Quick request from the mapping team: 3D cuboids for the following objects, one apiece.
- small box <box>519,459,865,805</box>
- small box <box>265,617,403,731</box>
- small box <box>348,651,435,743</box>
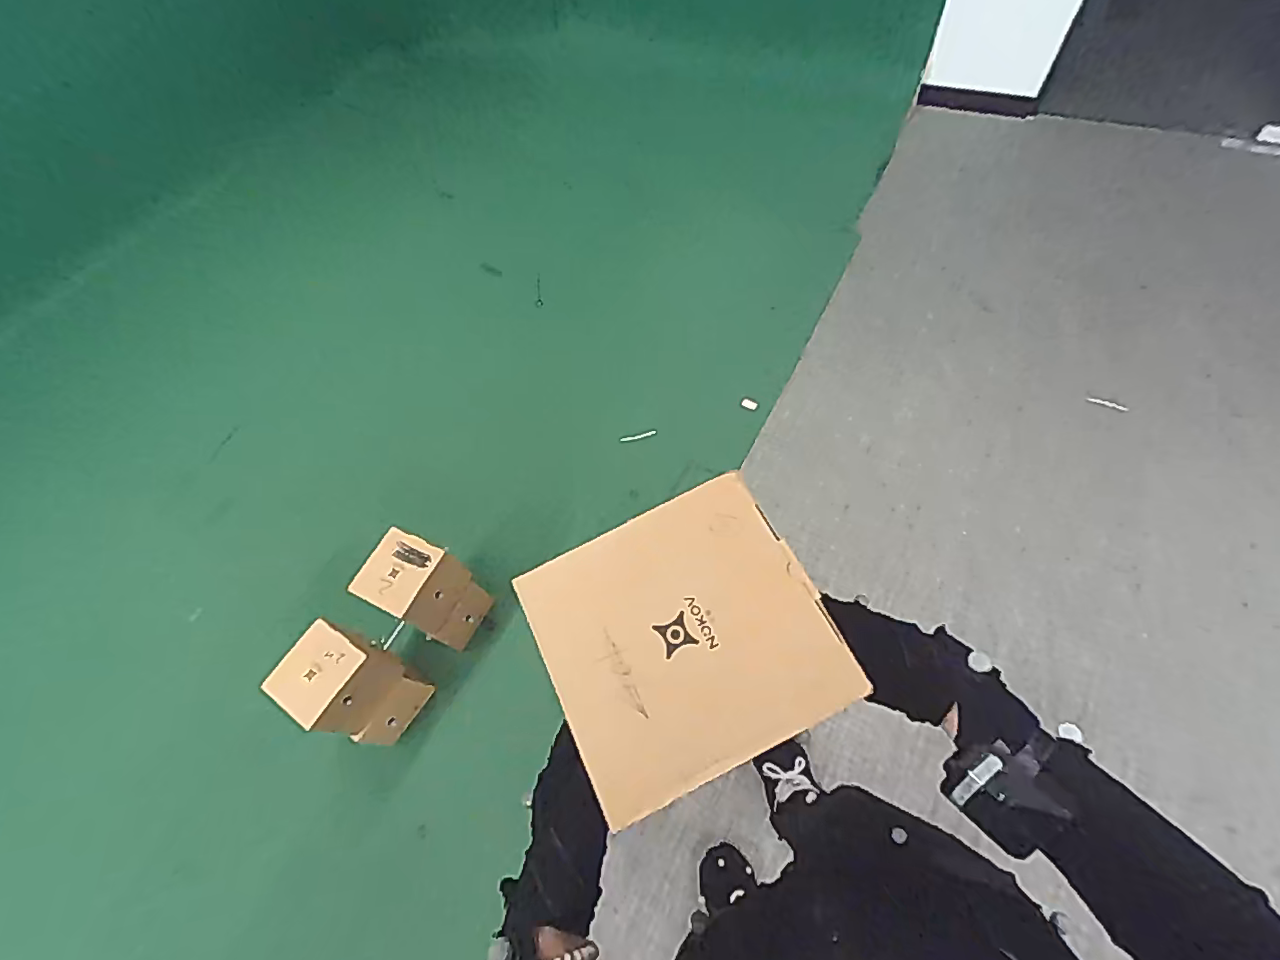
[{"bbox_3d":[0.034,0.115,0.420,0.179,0.176,0.168,-26,67,-4],"label":"small box"},{"bbox_3d":[-0.680,0.445,1.225,0.168,0.176,0.179,27,68,21],"label":"small box"},{"bbox_3d":[-0.656,0.536,1.360,0.179,0.176,0.168,28,68,22],"label":"small box"}]
